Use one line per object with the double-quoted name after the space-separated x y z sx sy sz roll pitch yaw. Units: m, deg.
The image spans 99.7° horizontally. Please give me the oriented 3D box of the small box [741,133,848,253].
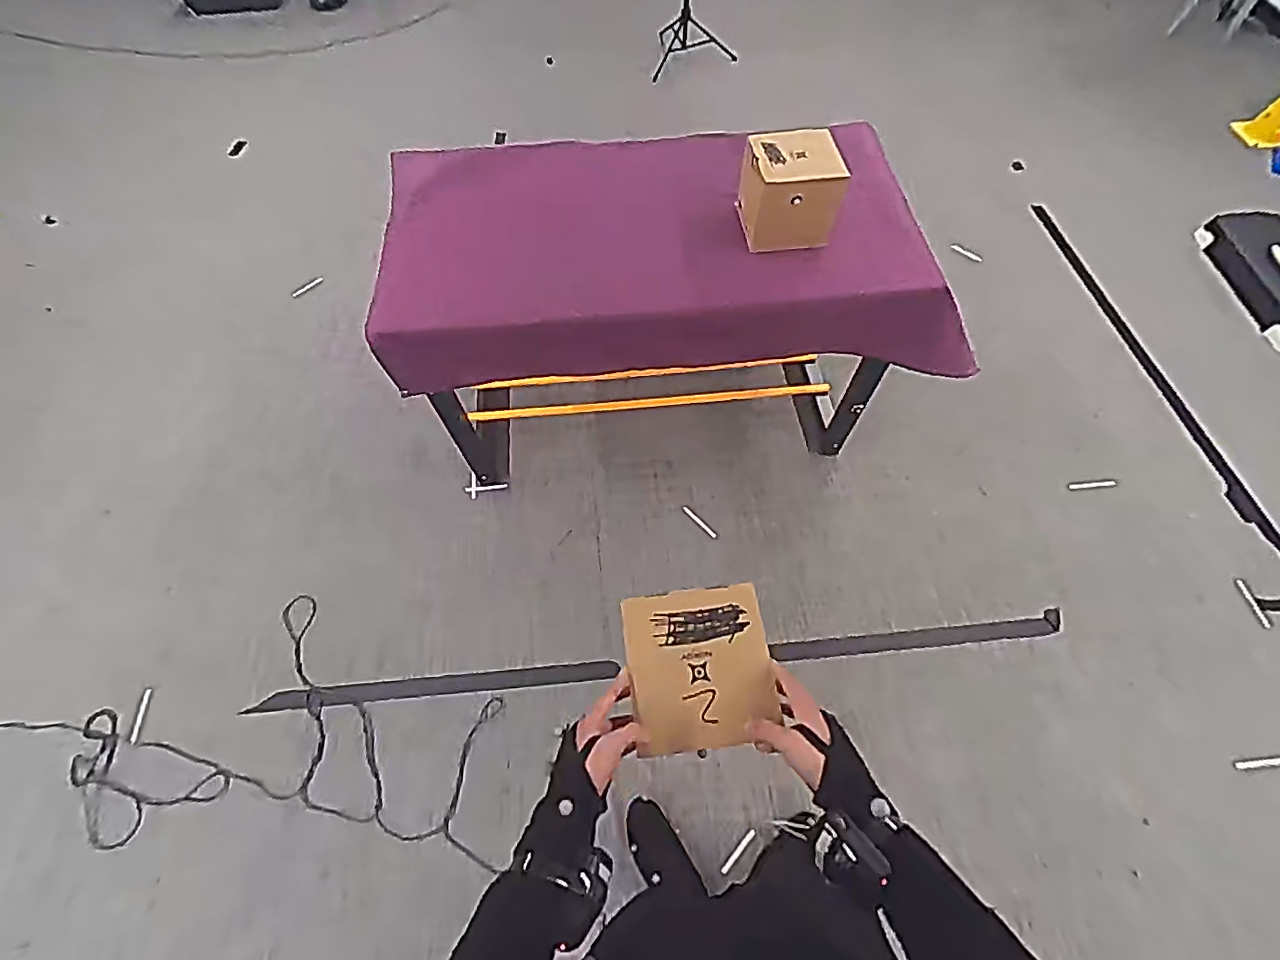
0.321 -0.615 1.172 0.179 0.176 0.168 -6 62 -2 "small box"
